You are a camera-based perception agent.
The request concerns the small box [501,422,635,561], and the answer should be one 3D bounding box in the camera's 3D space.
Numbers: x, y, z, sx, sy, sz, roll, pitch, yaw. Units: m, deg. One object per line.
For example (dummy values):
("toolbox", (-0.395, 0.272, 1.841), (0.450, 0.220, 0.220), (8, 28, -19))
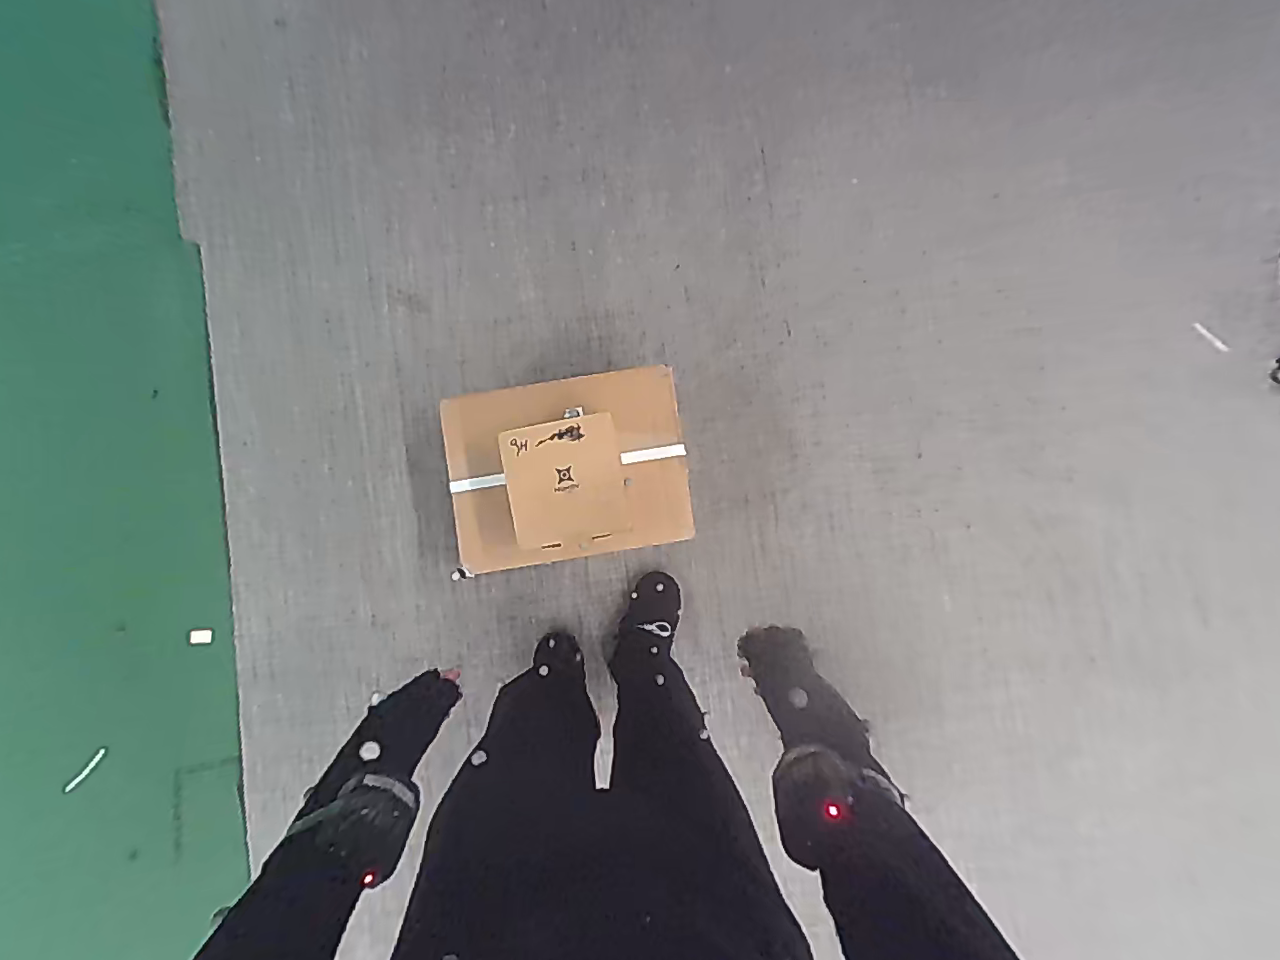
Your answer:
("small box", (-0.102, 0.018, 0.842), (0.168, 0.176, 0.179), (-11, 87, 0))
